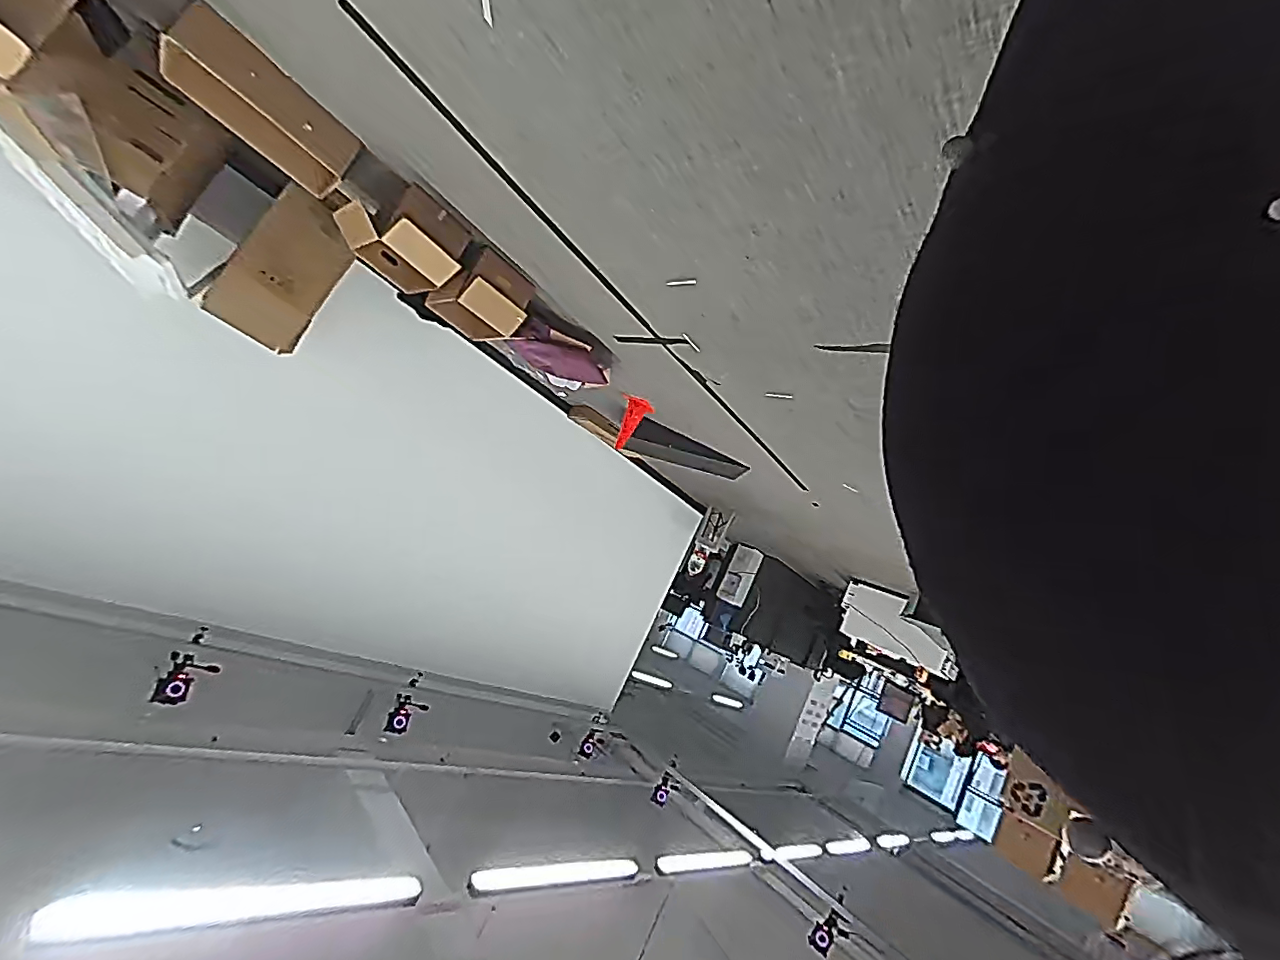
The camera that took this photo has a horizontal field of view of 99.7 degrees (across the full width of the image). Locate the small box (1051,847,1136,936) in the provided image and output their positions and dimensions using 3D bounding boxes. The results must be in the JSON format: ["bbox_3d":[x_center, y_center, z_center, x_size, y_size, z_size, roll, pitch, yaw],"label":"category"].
[{"bbox_3d":[1.501,1.347,1.784,0.179,0.176,0.168,31,172,-37],"label":"small box"}]

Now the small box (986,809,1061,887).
[{"bbox_3d":[1.376,1.307,1.934,0.179,0.176,0.168,32,170,-40],"label":"small box"}]
